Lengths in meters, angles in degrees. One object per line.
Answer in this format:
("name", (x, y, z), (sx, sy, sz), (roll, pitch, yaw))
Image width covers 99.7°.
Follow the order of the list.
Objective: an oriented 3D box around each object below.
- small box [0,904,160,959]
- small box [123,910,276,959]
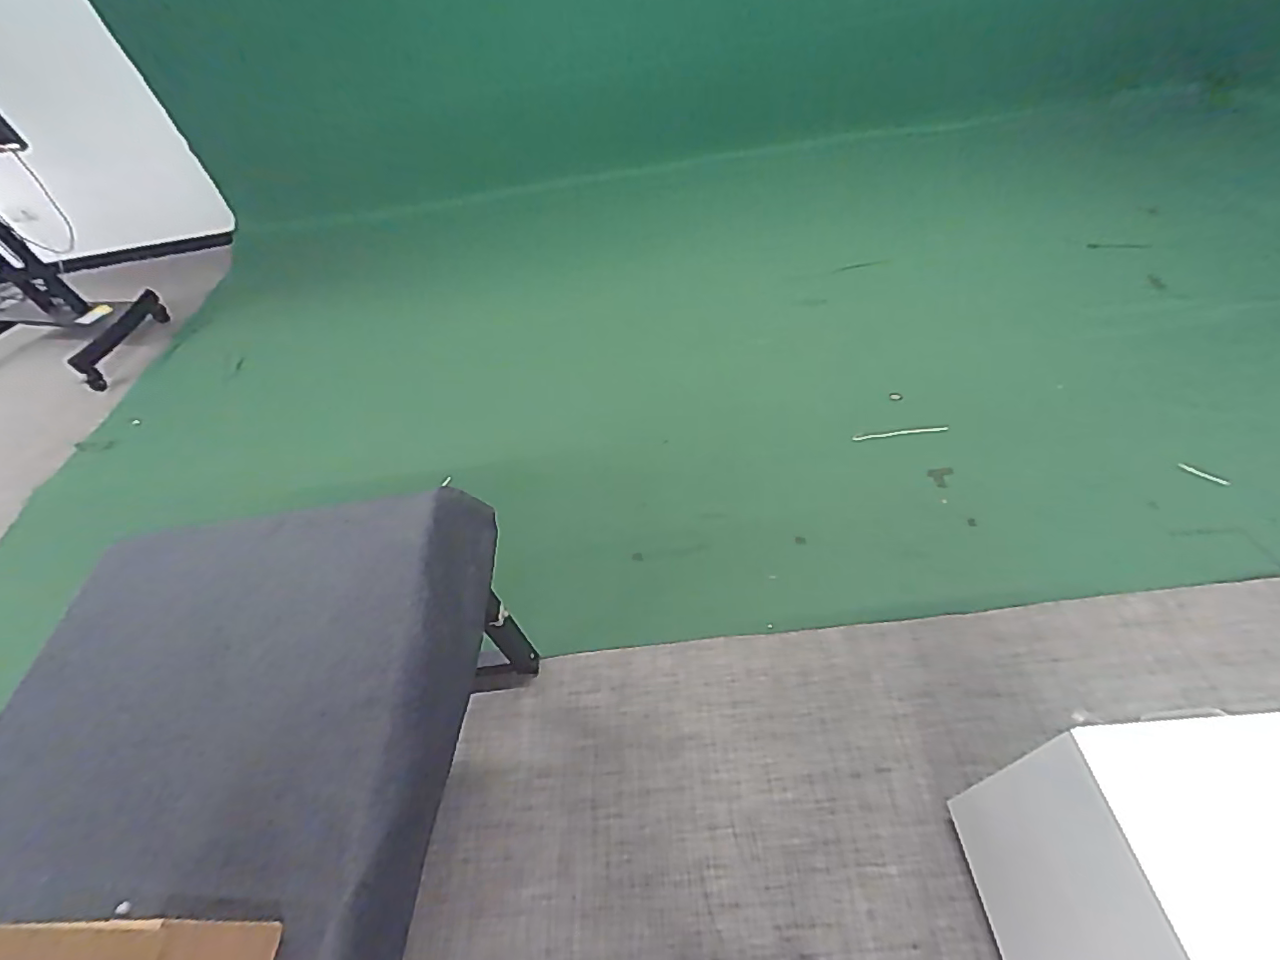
("small box", (-0.497, 0.393, 0.358), (0.179, 0.176, 0.168), (-9, 49, 6))
("small box", (-0.476, 0.498, 0.483), (0.168, 0.176, 0.179), (-6, 51, 6))
